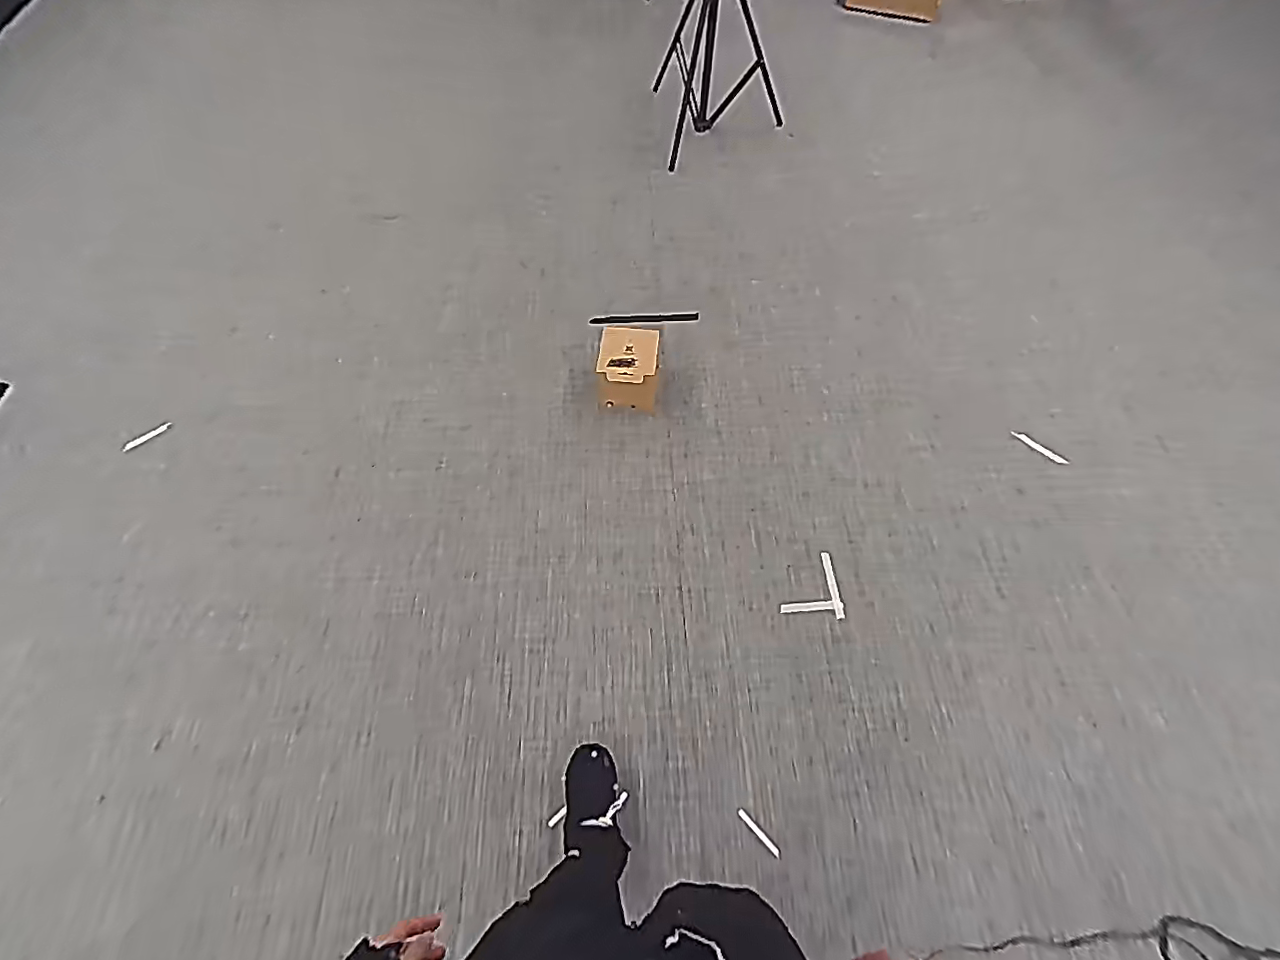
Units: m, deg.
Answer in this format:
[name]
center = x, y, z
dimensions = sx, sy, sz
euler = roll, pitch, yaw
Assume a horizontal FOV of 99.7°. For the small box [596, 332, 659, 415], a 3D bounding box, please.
[small box]
center = -0.033, -0.311, 1.603
dimensions = 0.168, 0.176, 0.179
euler = 5, 61, 3
